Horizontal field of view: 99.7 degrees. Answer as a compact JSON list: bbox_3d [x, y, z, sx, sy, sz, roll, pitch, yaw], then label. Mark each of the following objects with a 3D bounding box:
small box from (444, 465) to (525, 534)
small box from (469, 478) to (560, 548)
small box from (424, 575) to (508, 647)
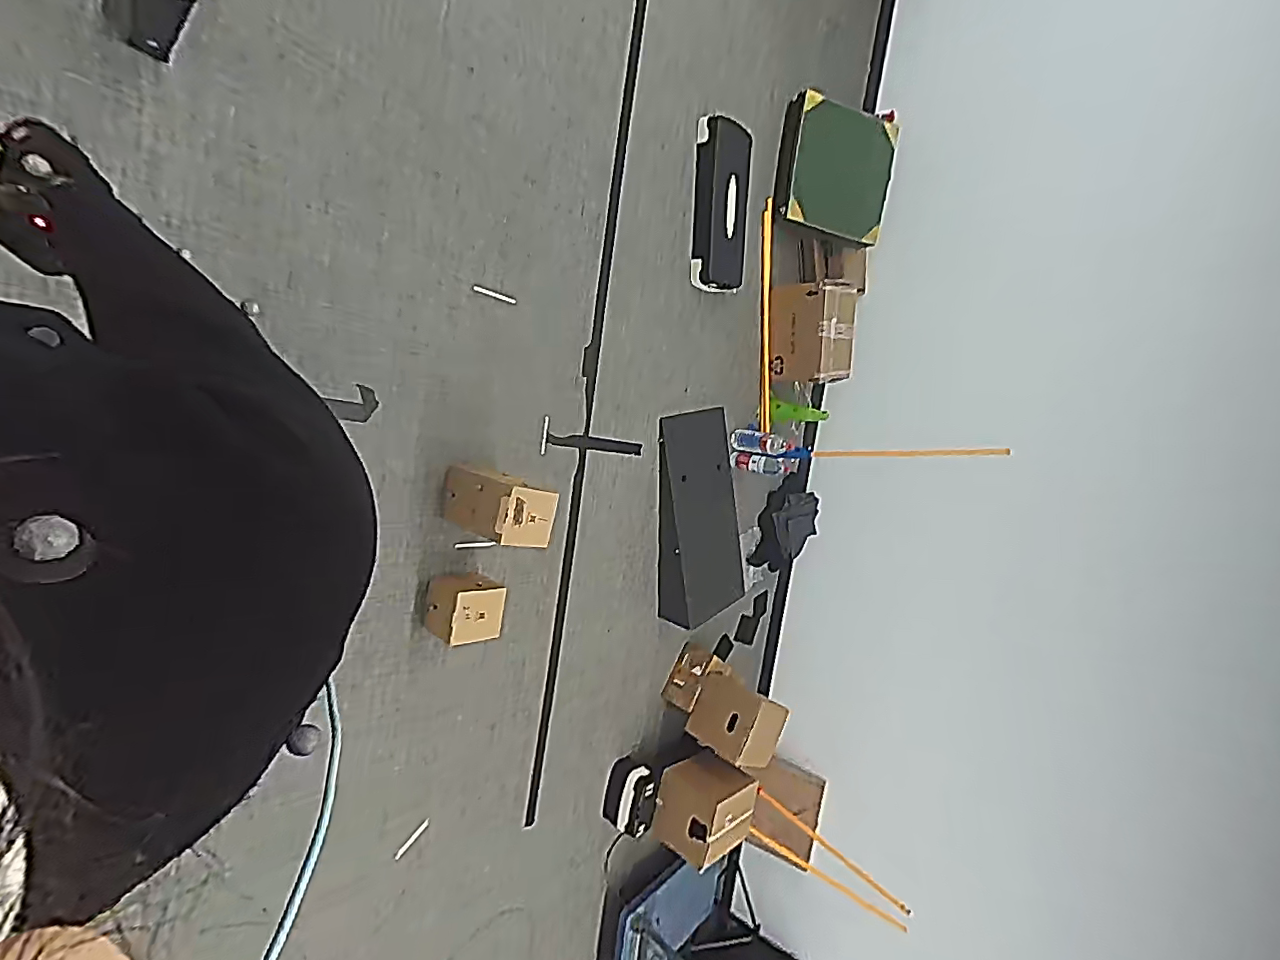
[{"bbox_3d":[-0.485,0.061,1.675,0.168,0.176,0.179,6,97,-50],"label":"small box"},{"bbox_3d":[-0.367,0.095,1.565,0.179,0.176,0.168,13,91,-51],"label":"small box"},{"bbox_3d":[-0.547,0.403,1.698,0.179,0.176,0.168,6,96,-50],"label":"small box"}]
